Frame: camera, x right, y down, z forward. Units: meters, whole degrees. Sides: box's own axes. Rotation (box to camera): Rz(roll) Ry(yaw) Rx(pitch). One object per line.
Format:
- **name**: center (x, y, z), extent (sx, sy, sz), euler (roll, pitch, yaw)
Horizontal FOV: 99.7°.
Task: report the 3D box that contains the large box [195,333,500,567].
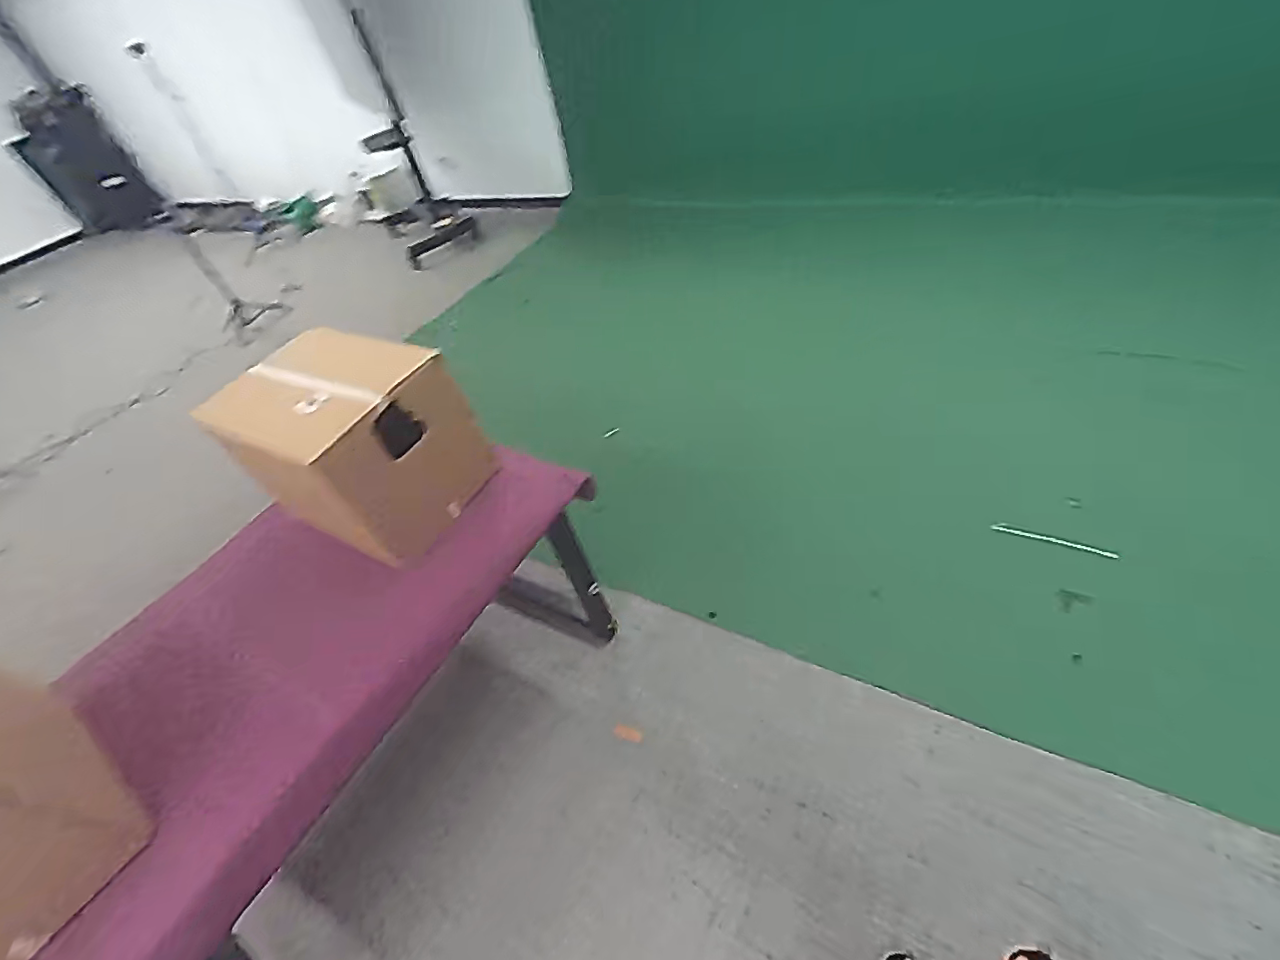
- **large box**: center (-0.580, -0.073, 1.127), extent (0.408, 0.320, 0.320), euler (16, 55, 26)
